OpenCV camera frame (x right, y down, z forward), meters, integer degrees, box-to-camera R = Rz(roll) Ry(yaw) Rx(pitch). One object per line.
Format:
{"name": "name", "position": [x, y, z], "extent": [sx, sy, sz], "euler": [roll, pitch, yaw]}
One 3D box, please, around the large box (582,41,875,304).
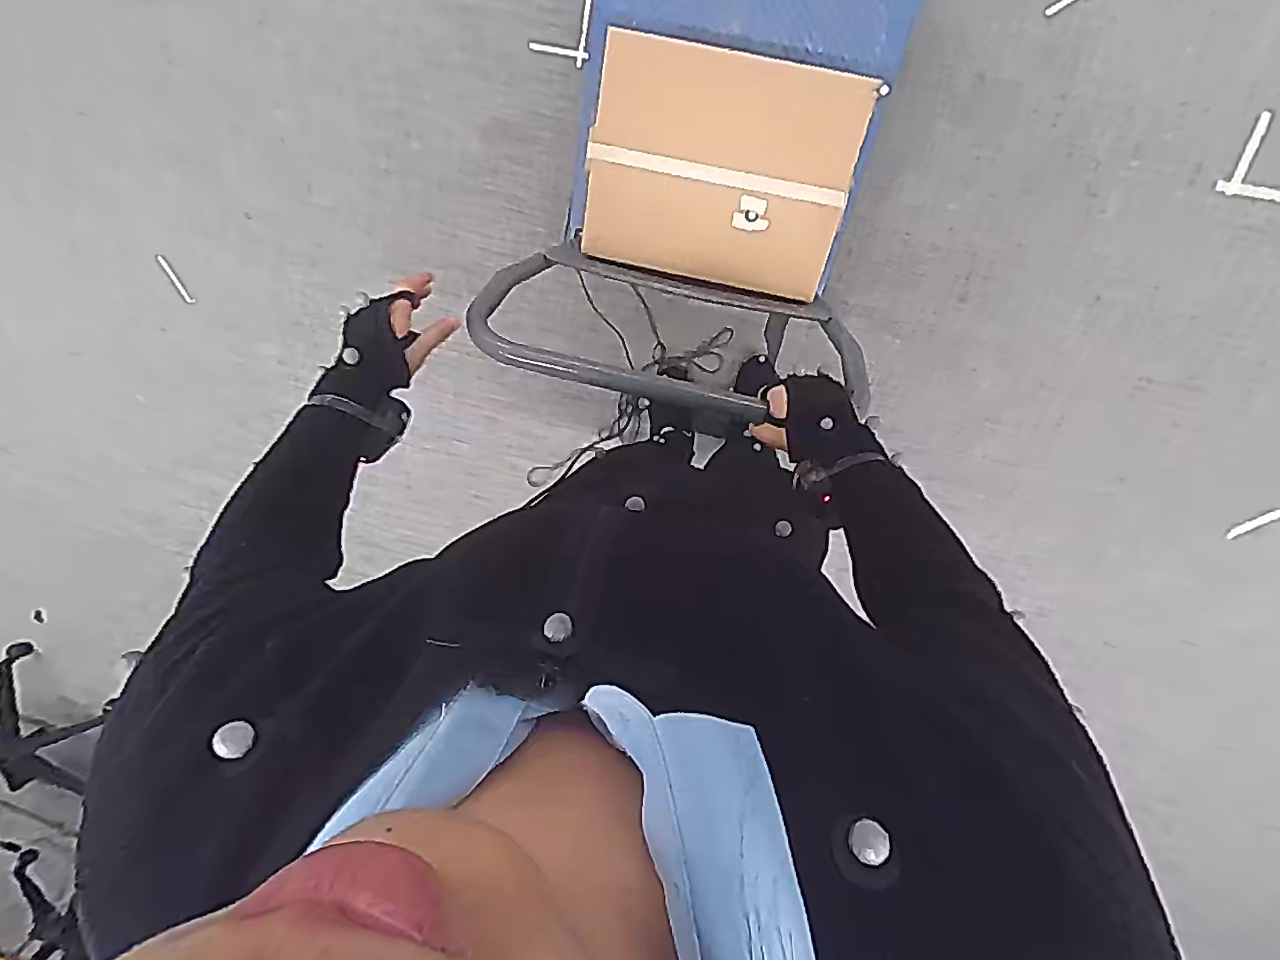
{"name": "large box", "position": [0.133, -0.528, 0.976], "extent": [0.408, 0.320, 0.320], "euler": [12, 117, 1]}
